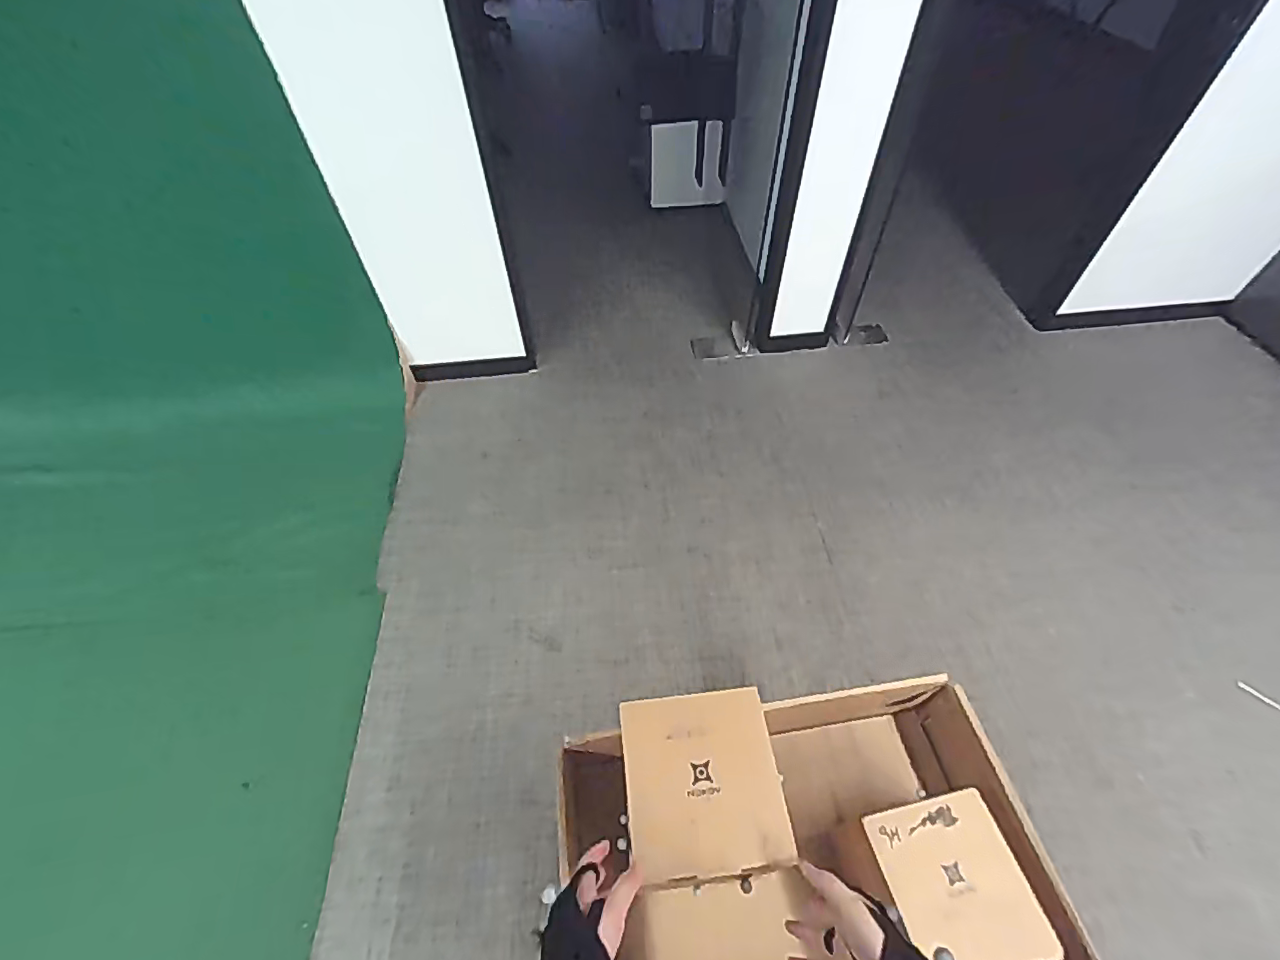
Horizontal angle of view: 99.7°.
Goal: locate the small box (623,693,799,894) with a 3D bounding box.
[{"bbox_3d":[0.070,0.373,0.639,0.168,0.176,0.179,-5,51,-4],"label":"small box"}]
